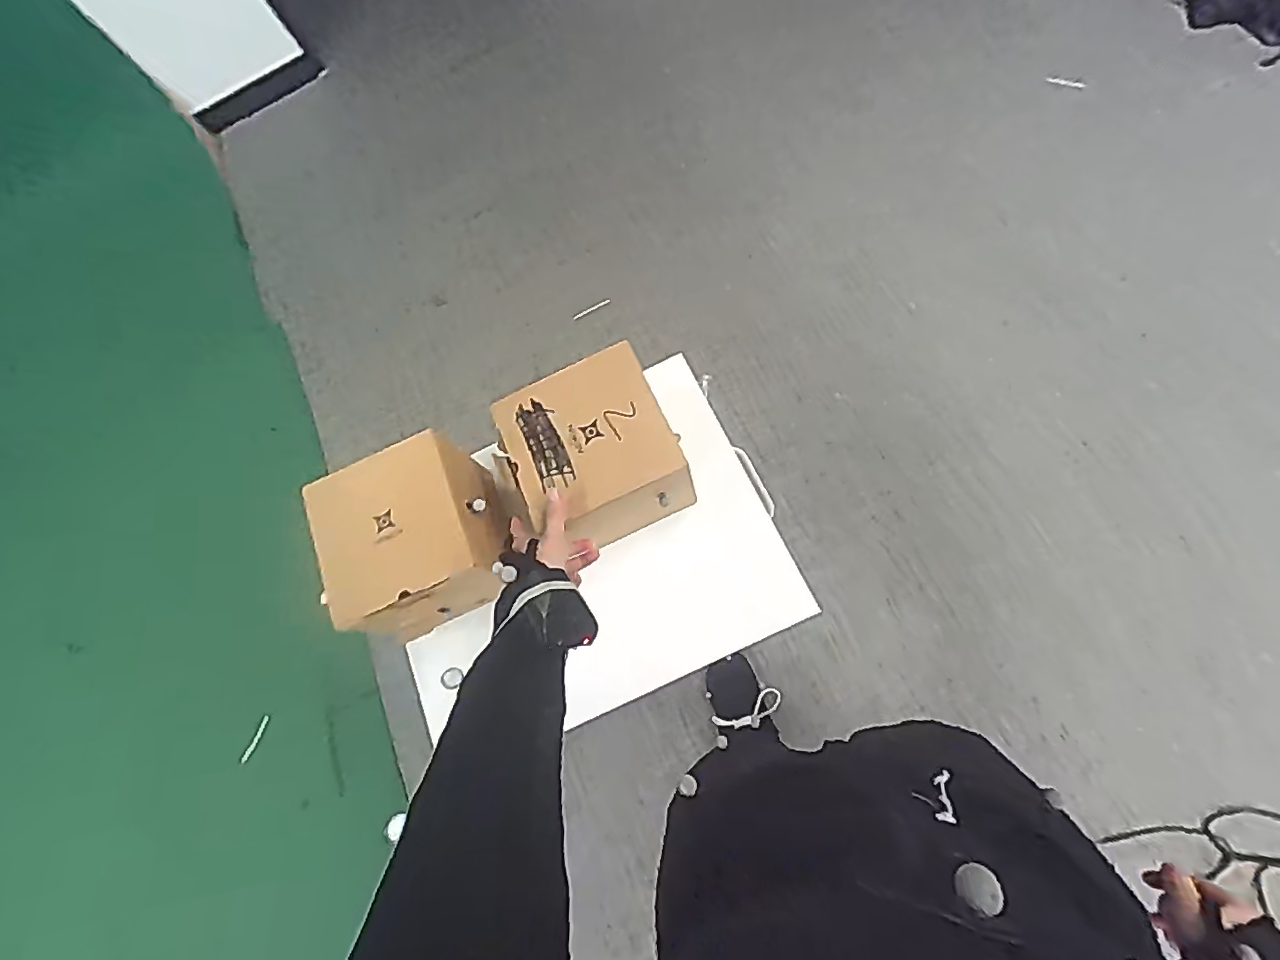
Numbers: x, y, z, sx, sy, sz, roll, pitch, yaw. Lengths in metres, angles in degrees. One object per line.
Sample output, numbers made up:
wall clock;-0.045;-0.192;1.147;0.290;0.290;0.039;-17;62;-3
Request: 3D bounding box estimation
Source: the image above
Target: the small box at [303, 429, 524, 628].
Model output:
small box;-0.265;0.070;0.662;0.168;0.176;0.179;-25;72;1
